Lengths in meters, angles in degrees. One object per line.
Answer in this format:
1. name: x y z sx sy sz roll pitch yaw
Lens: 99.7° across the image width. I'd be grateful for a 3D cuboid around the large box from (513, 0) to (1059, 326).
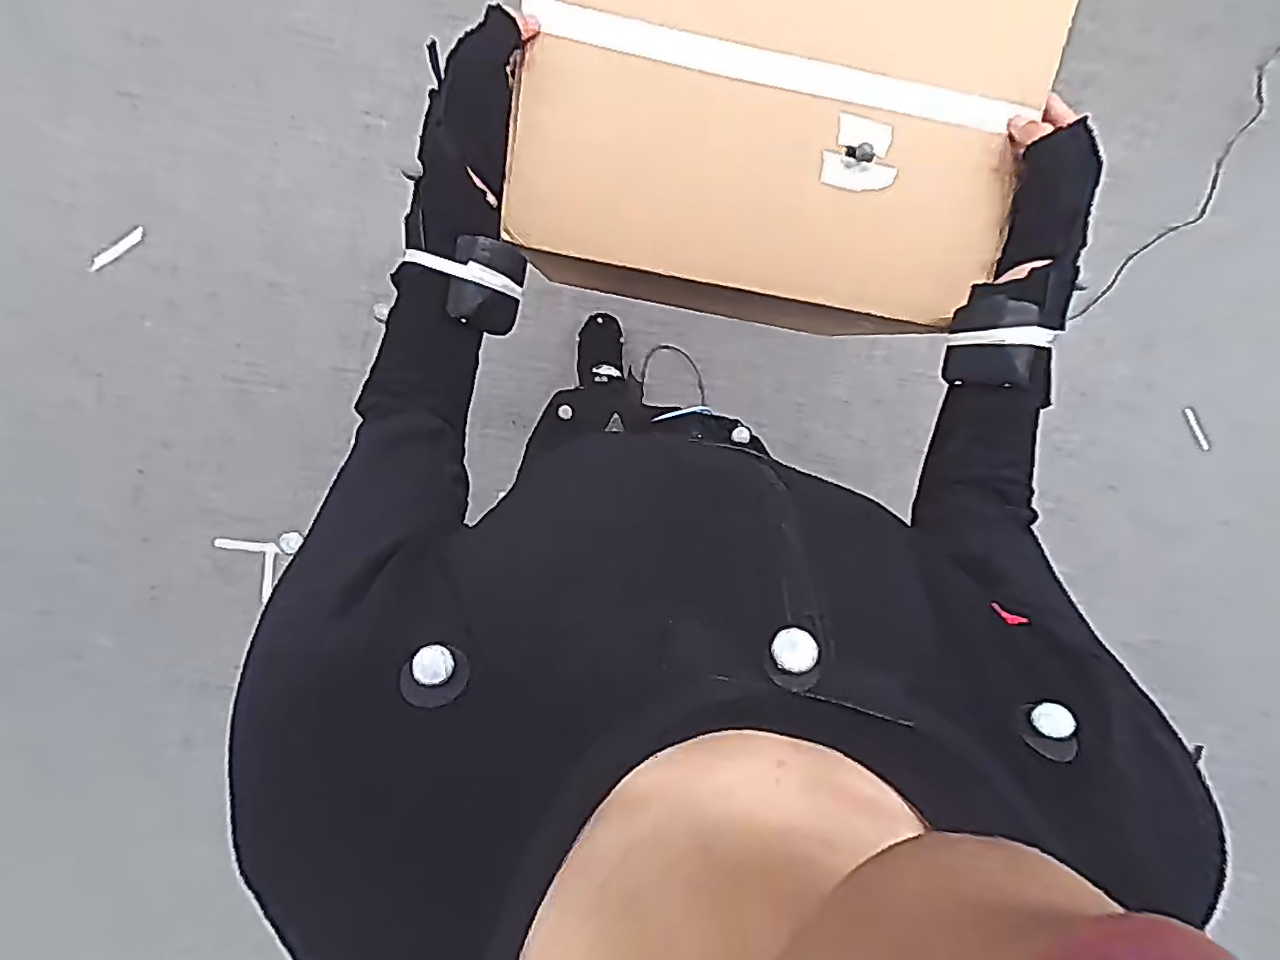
1. large box: 0.103 -0.351 0.562 0.408 0.320 0.320 9 105 -6
